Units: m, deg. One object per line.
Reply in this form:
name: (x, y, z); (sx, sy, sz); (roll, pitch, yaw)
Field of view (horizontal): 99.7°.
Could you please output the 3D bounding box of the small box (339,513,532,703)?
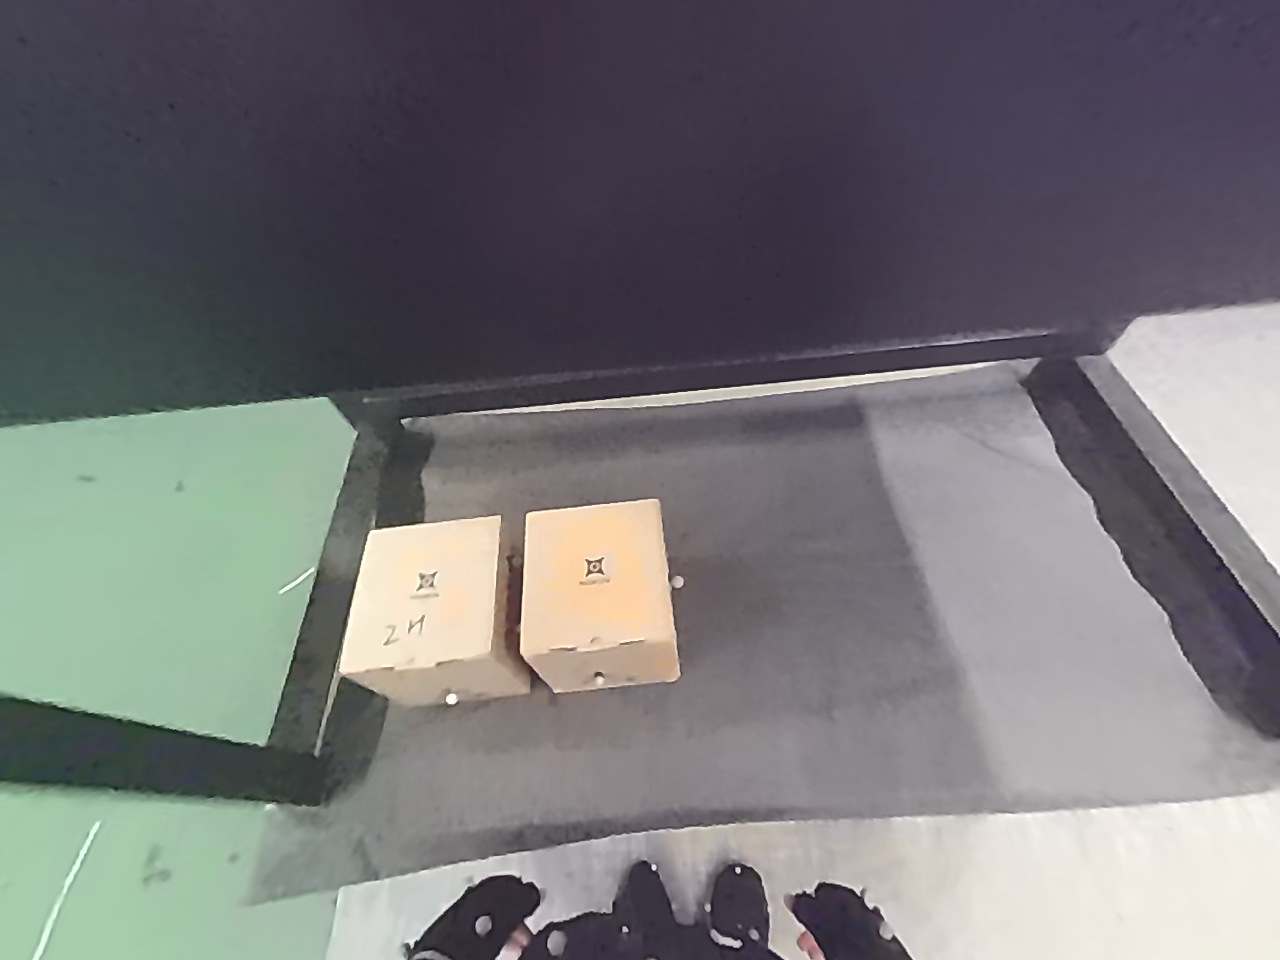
small box: (-0.238, 0.165, 0.680); (0.168, 0.176, 0.179); (-7, 56, 1)
